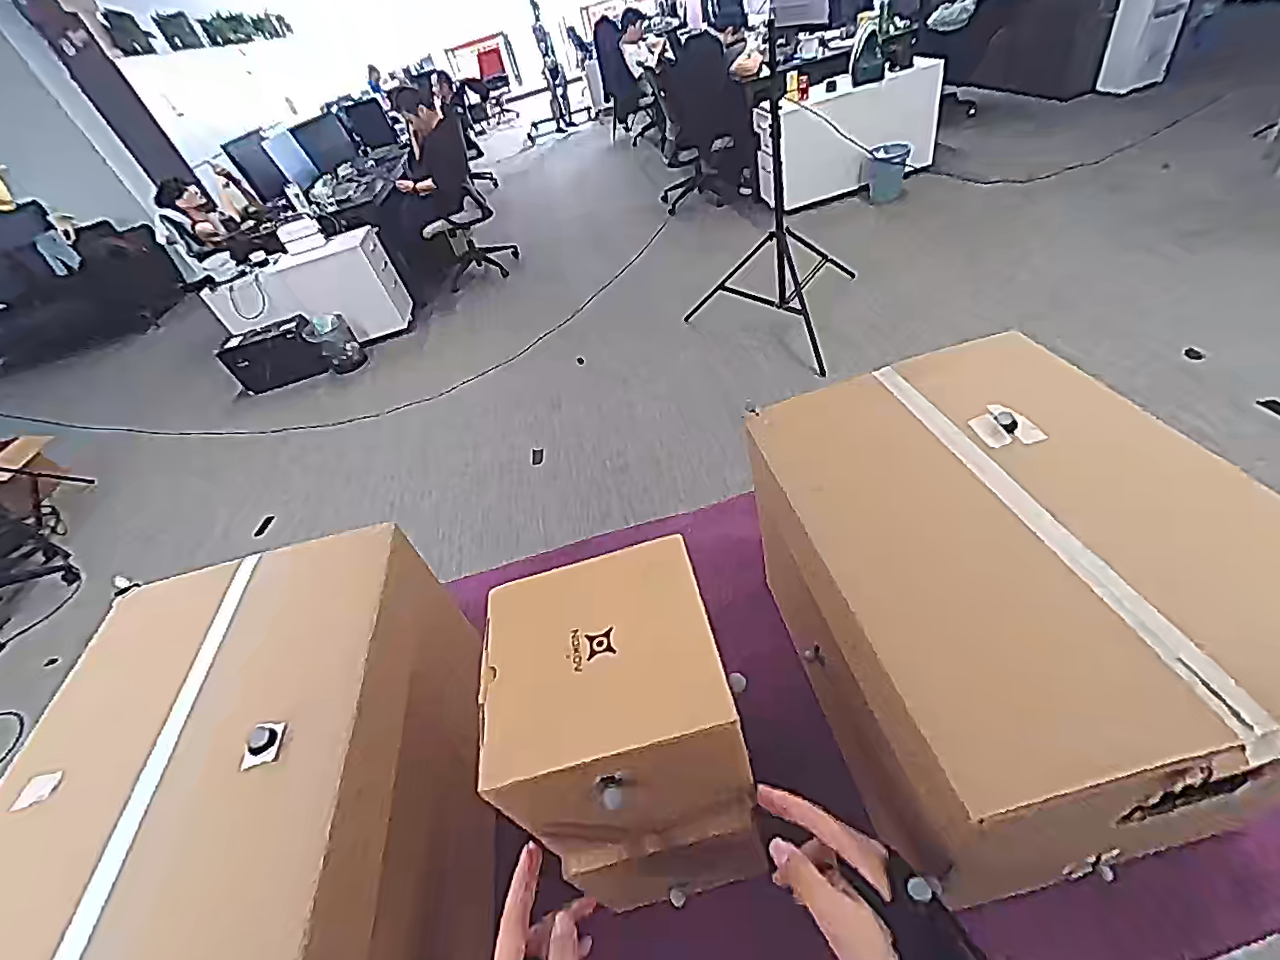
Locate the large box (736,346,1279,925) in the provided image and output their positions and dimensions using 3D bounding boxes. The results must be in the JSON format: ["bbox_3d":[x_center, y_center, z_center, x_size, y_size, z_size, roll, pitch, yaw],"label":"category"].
[{"bbox_3d":[0.324,0.130,0.539,0.320,0.320,0.408,-17,41,1],"label":"large box"}]

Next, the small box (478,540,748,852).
[{"bbox_3d":[-0.015,0.183,0.456,0.179,0.176,0.168,-17,42,3],"label":"small box"}]
